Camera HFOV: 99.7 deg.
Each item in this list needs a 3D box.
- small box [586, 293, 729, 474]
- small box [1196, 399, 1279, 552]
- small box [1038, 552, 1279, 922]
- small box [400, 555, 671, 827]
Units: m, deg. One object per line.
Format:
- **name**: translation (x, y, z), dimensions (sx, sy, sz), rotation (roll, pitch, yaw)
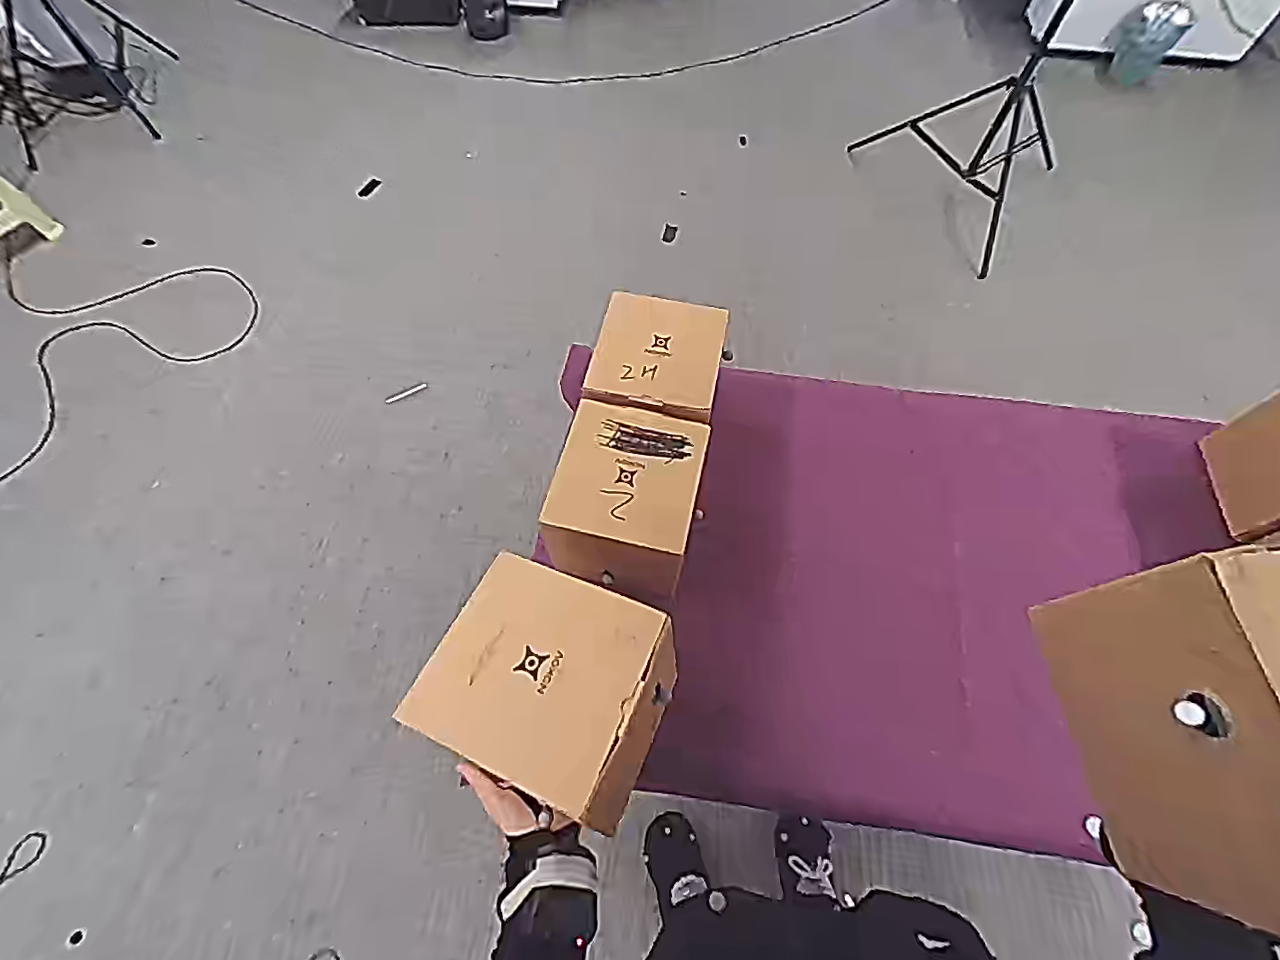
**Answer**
- **small box**: translation (0.025, -0.135, 0.783), dimensions (0.168, 0.176, 0.179), rotation (11, 62, 5)
- **small box**: translation (0.932, -0.008, 0.738), dimensions (0.168, 0.176, 0.179), rotation (11, 61, 4)
- **small box**: translation (0.382, 0.143, 0.313), dimensions (0.168, 0.176, 0.179), rotation (-6, 67, 4)
- **small box**: translation (-0.077, 0.203, 0.513), dimensions (0.179, 0.176, 0.168), rotation (16, 56, 18)
